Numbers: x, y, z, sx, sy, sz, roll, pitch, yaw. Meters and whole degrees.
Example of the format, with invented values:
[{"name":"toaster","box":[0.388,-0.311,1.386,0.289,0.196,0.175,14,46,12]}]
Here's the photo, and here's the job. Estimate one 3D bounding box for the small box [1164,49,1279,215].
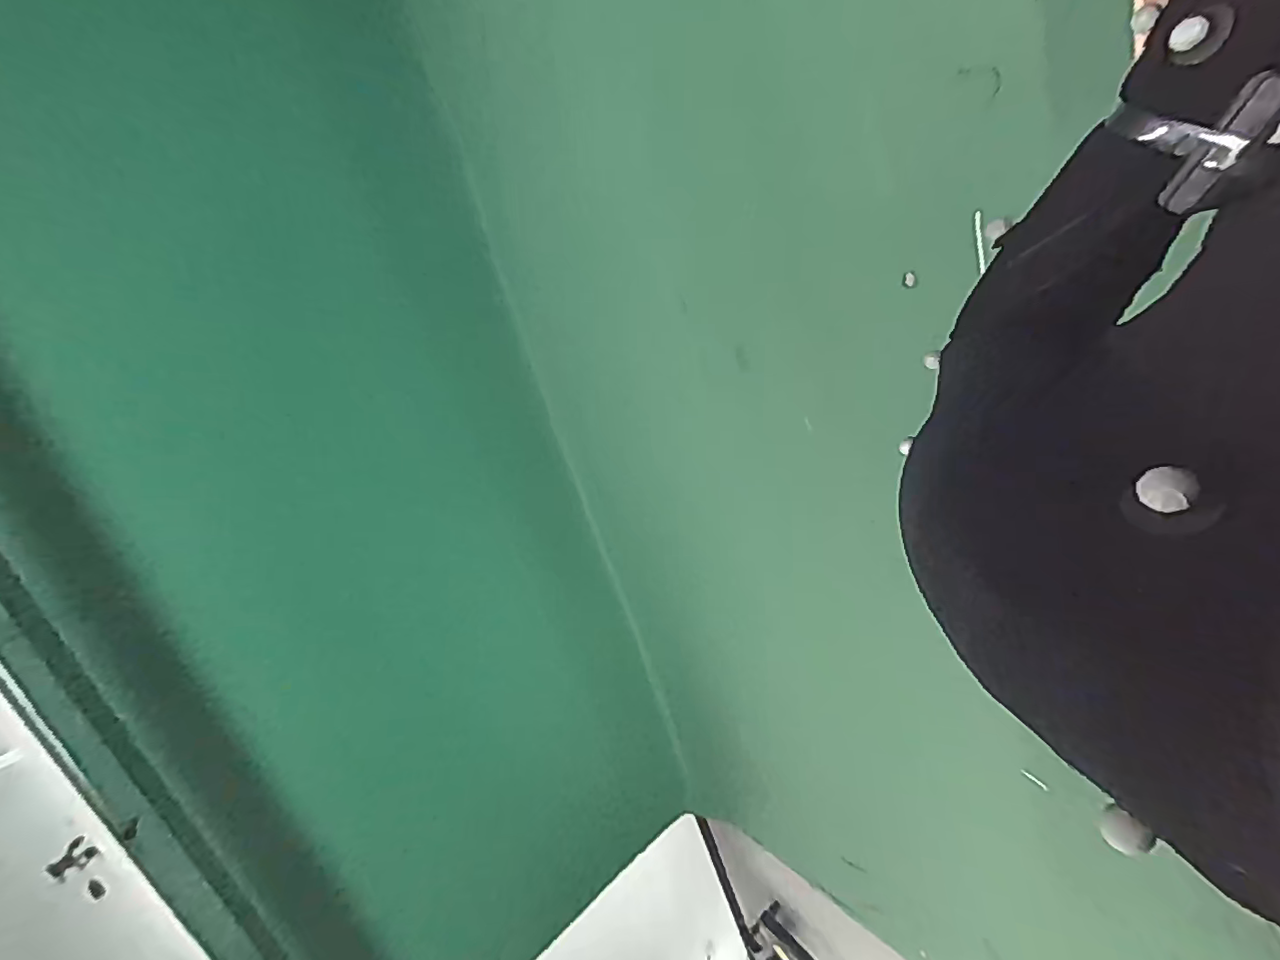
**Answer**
[{"name":"small box","box":[0.996,-0.534,0.826,0.176,0.168,0.179,30,117,-1]}]
